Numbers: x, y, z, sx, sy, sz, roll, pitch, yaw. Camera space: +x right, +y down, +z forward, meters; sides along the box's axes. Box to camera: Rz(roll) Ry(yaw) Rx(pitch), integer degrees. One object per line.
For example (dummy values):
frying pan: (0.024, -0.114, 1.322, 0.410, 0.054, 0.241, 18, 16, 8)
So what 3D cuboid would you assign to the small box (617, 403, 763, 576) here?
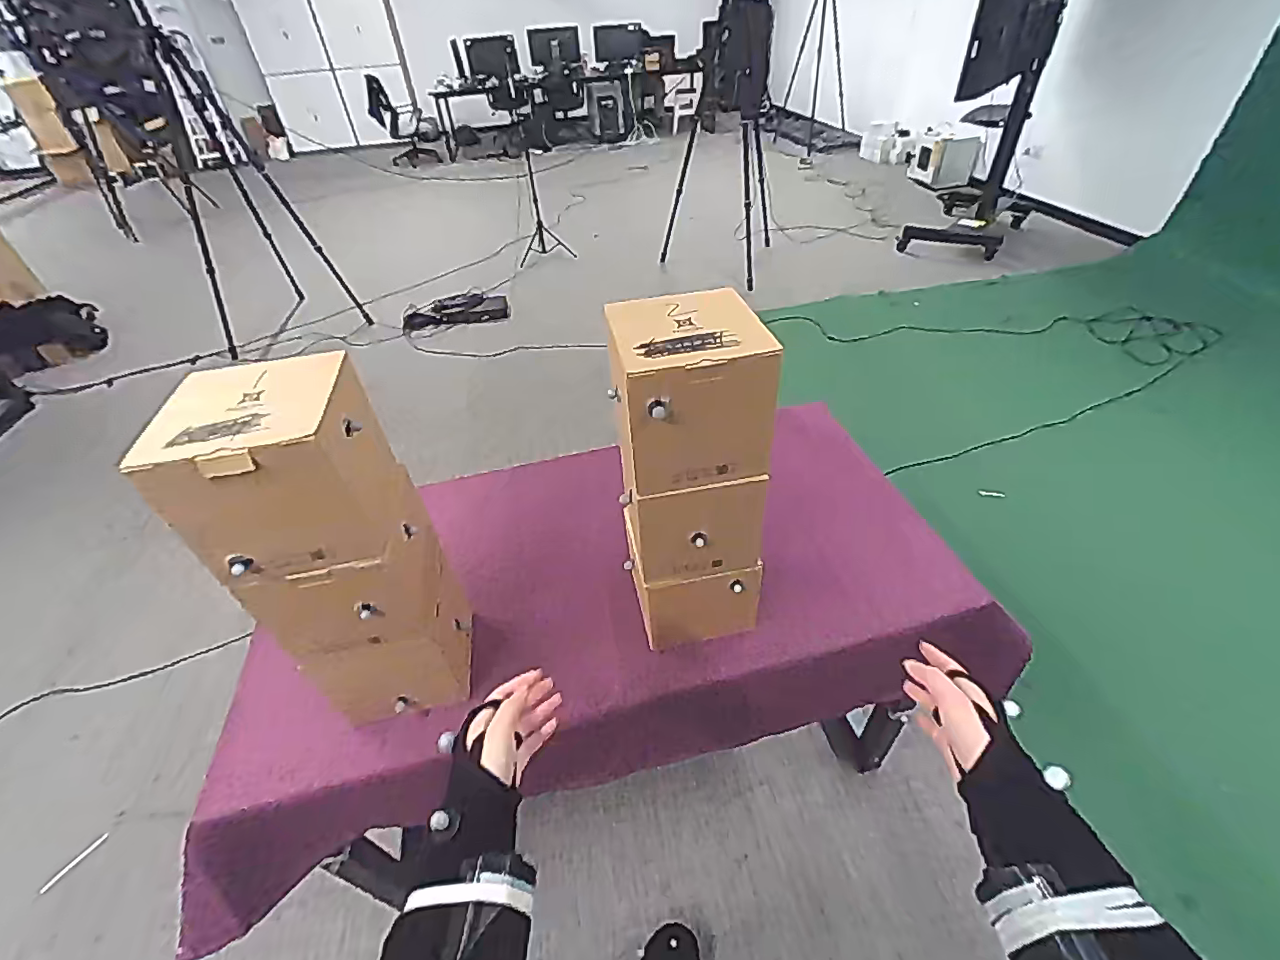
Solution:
small box: (0.066, 0.018, 0.762, 0.168, 0.176, 0.179, -9, 41, -4)

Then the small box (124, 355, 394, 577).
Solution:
small box: (-0.391, -0.012, 0.600, 0.168, 0.176, 0.179, -12, 41, -8)

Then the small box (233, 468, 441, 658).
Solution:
small box: (-0.372, 0.112, 0.706, 0.168, 0.176, 0.179, -10, 41, -5)

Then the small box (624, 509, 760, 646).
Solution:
small box: (0.079, 0.144, 0.868, 0.179, 0.176, 0.168, -10, 42, -6)

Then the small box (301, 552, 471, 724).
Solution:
small box: (-0.360, 0.237, 0.811, 0.179, 0.176, 0.168, -11, 42, -7)
